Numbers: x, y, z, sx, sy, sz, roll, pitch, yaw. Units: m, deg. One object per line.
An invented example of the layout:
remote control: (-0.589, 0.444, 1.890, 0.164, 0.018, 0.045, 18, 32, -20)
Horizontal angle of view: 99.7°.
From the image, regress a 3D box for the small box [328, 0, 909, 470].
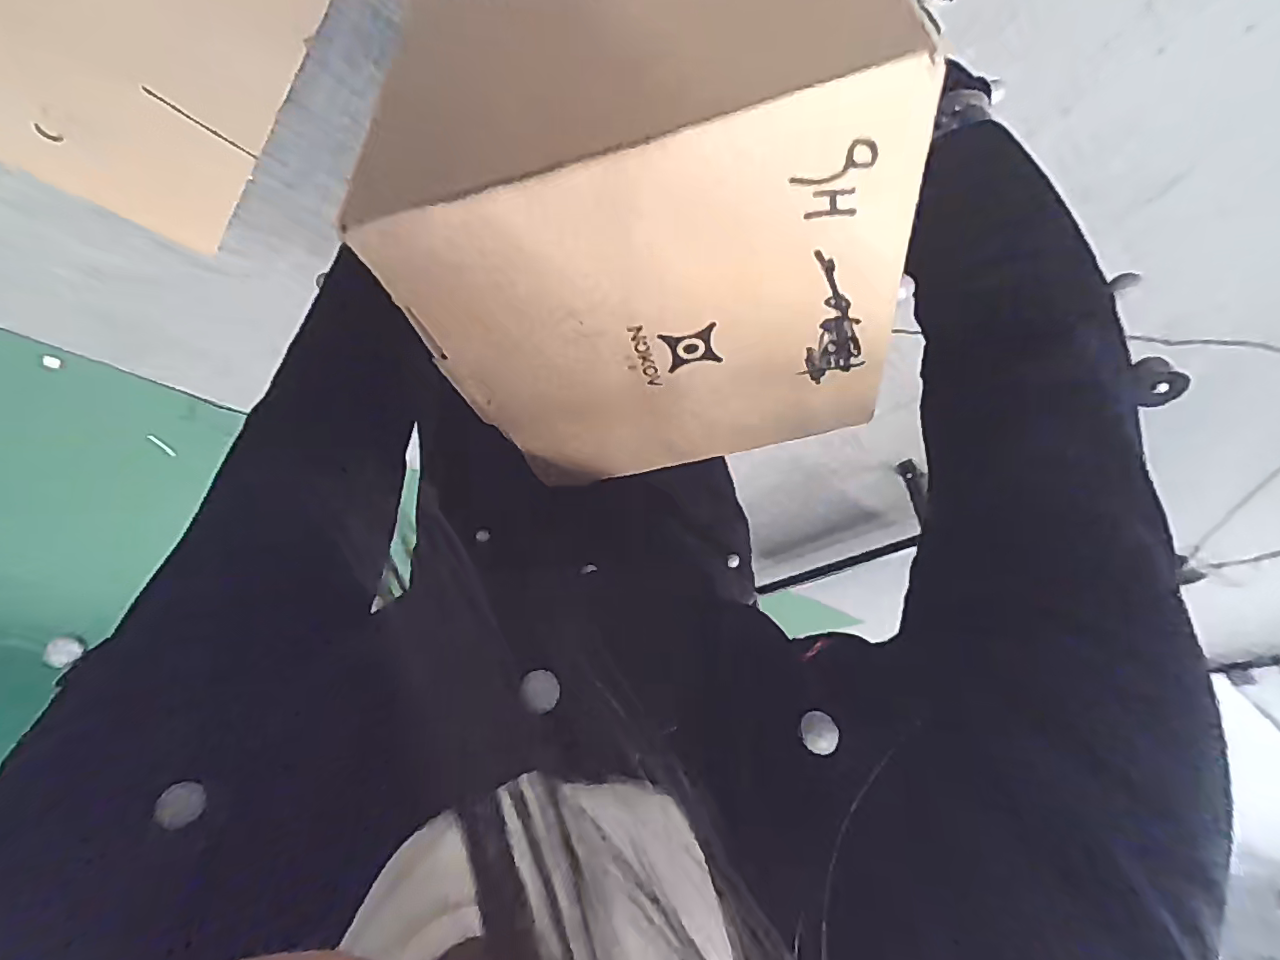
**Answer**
small box: (0.003, -0.131, 0.256, 0.179, 0.176, 0.168, -13, 147, 13)
